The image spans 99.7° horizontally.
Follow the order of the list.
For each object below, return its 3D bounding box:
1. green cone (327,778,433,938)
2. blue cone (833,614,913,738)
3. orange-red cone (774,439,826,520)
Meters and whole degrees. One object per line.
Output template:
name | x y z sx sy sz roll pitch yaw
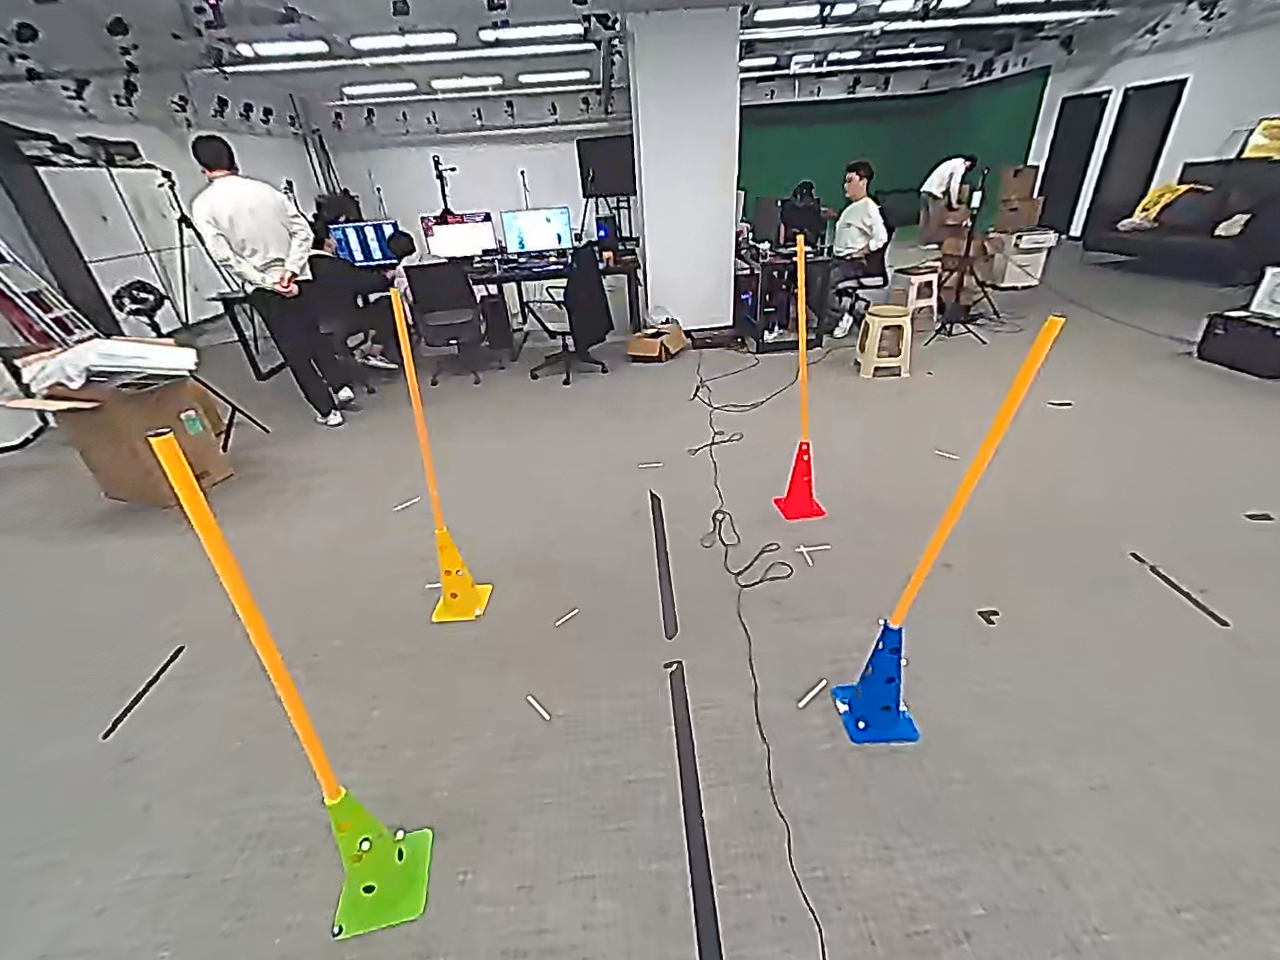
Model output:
green cone | -0.619 0.807 1.216 0.200 0.368 0.202 -10 28 -10
blue cone | 0.681 0.539 1.532 0.193 0.380 0.192 -3 29 2
orange-red cone | 0.744 -0.020 2.490 0.199 0.360 0.198 -8 29 -4
